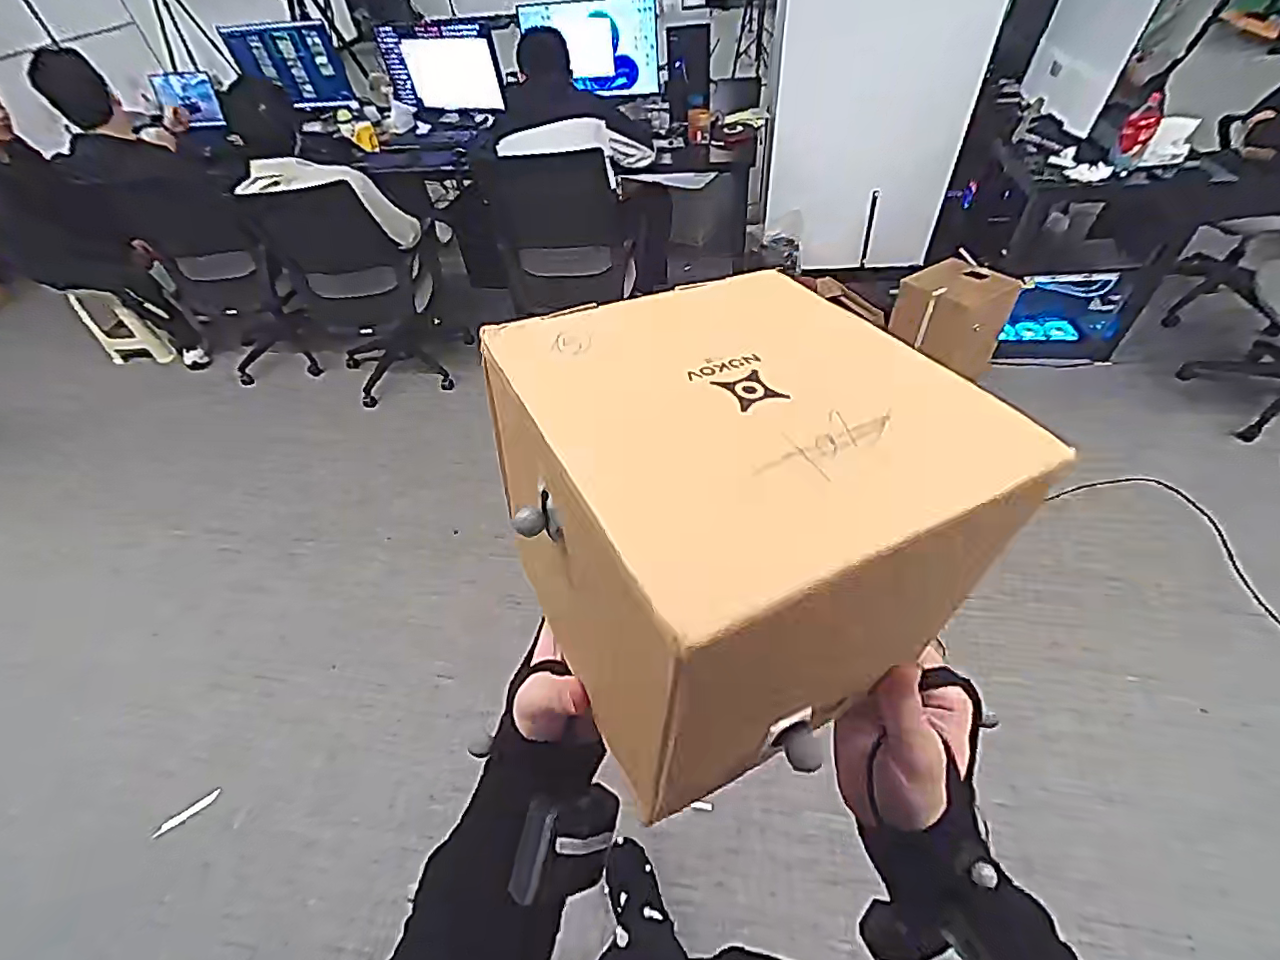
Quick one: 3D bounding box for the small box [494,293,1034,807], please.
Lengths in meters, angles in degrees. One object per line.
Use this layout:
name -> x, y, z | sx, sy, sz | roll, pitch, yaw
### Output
small box -> 0.037, 0.027, 0.285 | 0.168, 0.176, 0.179 | -20, 48, -21
